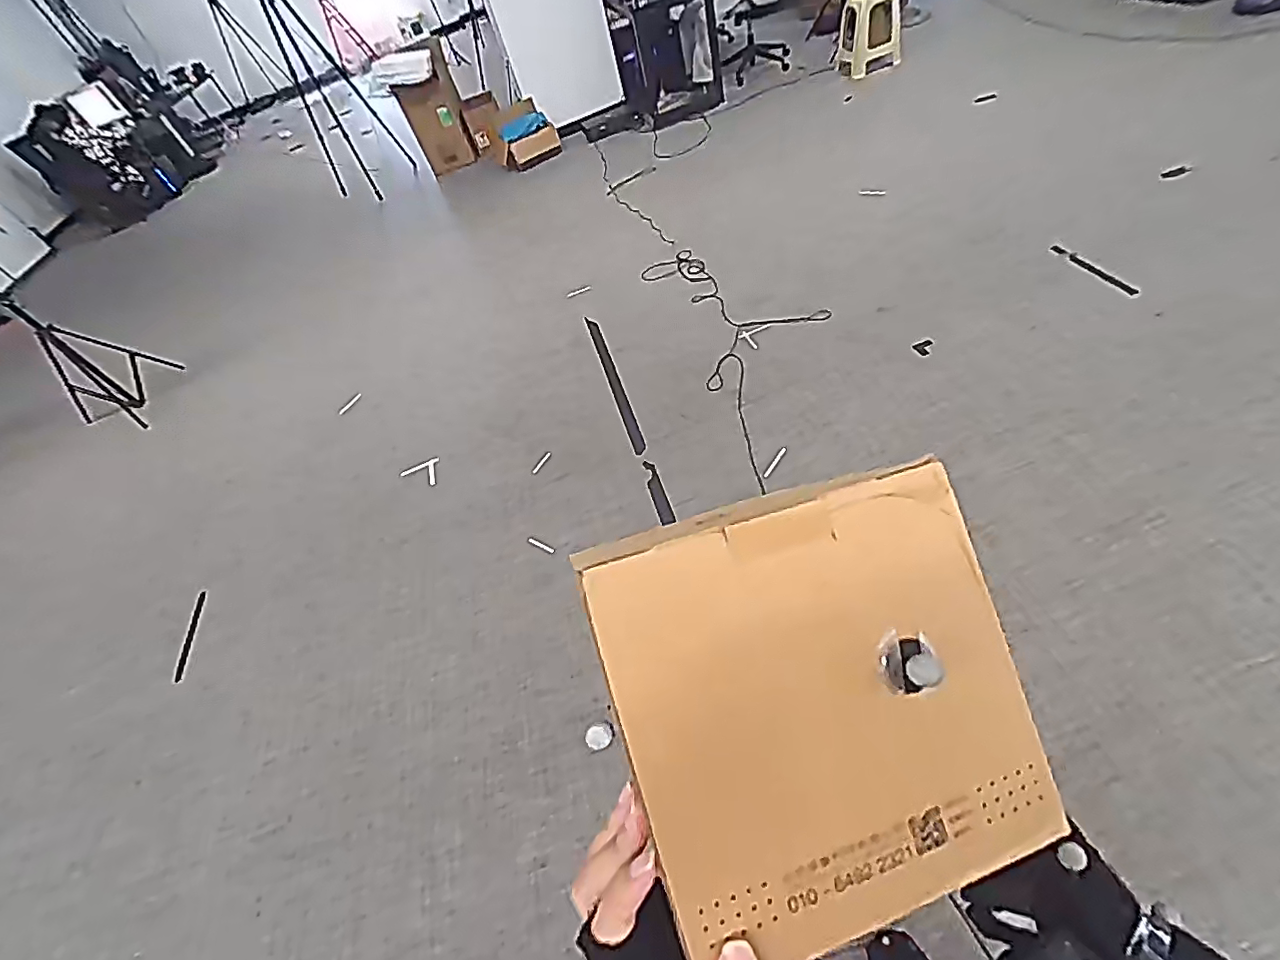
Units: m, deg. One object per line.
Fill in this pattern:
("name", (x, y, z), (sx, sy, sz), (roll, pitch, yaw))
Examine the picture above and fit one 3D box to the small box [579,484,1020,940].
("small box", (0.067, 0.112, 0.314), (0.168, 0.179, 0.176), (-16, 86, -9))
